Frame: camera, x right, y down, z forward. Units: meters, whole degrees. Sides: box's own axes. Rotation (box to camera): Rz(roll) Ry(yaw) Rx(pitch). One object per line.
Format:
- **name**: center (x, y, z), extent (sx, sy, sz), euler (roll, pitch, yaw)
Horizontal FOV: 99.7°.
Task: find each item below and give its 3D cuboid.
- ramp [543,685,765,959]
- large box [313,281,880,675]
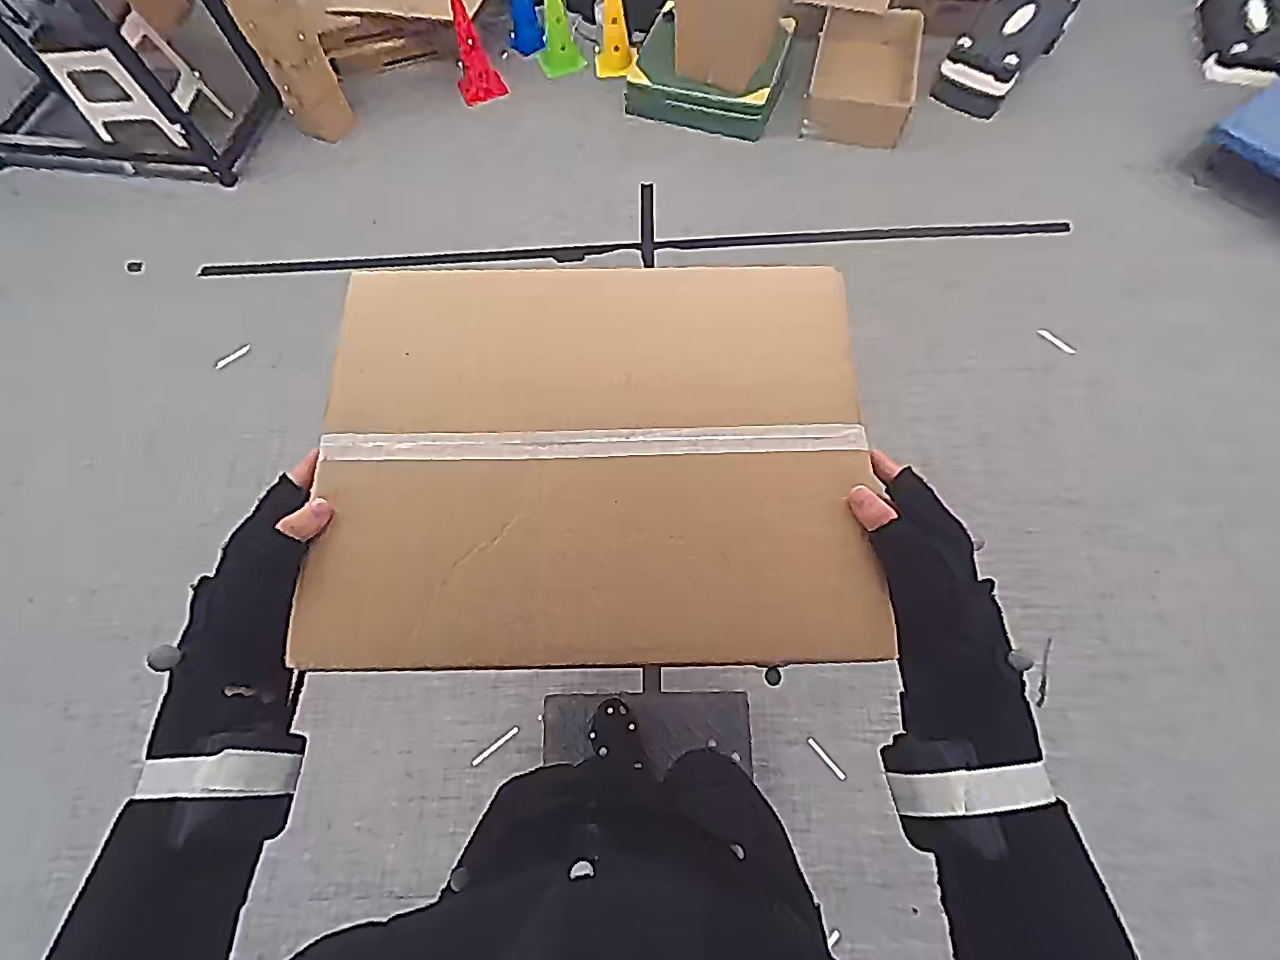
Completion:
- **ramp**: center (0.030, 0.986, 1.203), extent (0.509, 0.206, 0.991), euler (-3, 68, 0)
- **large box**: center (-0.032, 0.025, 0.559), extent (0.408, 0.320, 0.320), euler (-1, 72, 0)
